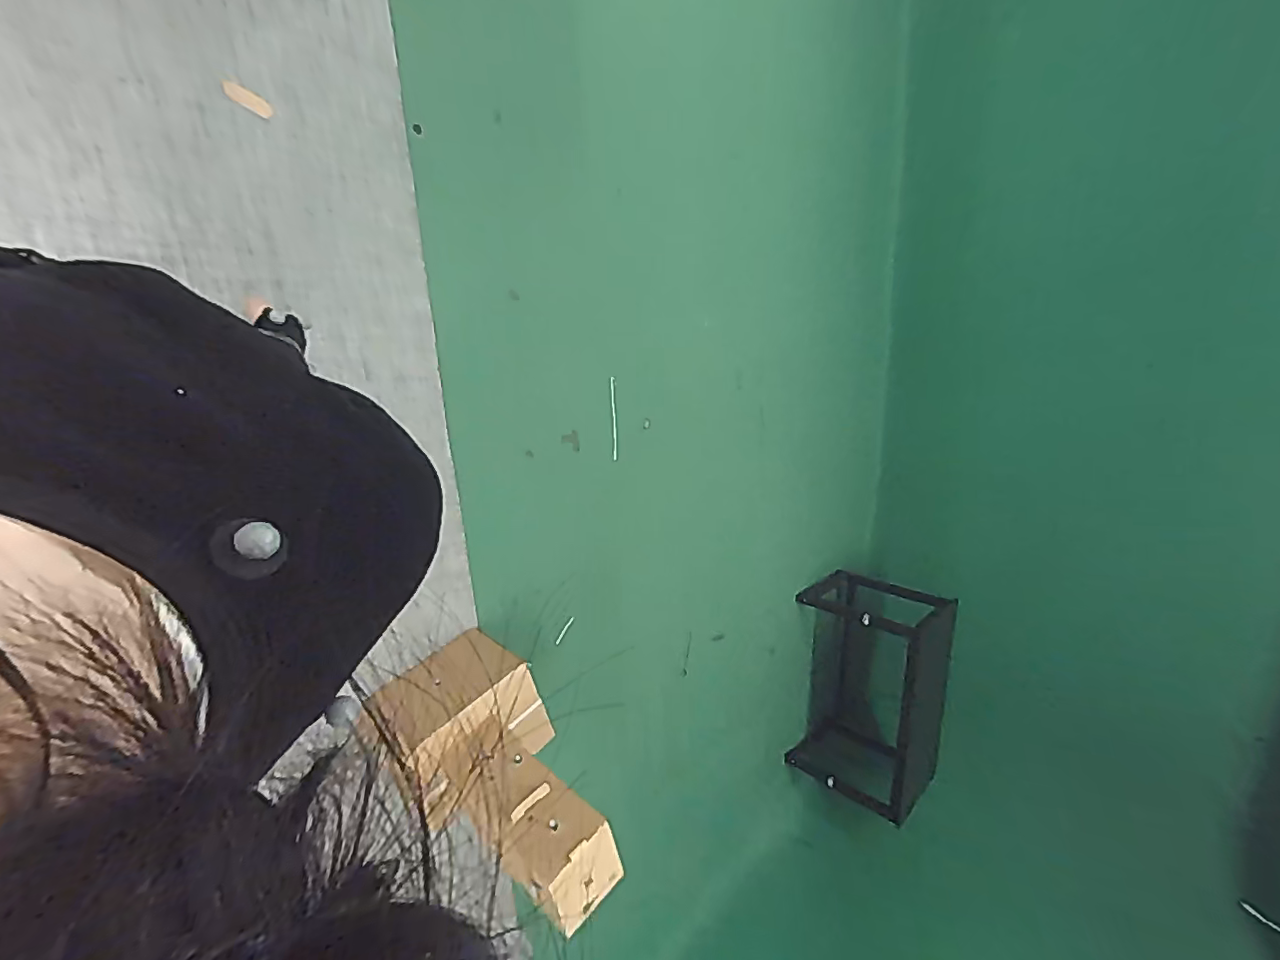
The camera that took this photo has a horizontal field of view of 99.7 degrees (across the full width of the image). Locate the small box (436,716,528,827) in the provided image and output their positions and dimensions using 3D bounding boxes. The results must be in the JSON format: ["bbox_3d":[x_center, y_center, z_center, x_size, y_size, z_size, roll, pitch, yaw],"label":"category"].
[{"bbox_3d":[-0.402,0.762,1.417,0.179,0.176,0.168,-28,117,-37],"label":"small box"}]

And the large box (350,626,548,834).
[{"bbox_3d":[-0.555,0.711,1.604,0.408,0.320,0.320,-33,122,-37],"label":"large box"}]

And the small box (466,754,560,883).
[{"bbox_3d":[-0.294,0.795,1.299,0.168,0.176,0.179,-27,116,-38],"label":"small box"}]

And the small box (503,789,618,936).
[{"bbox_3d":[-0.176,0.821,1.187,0.168,0.176,0.179,-28,116,-38],"label":"small box"}]
